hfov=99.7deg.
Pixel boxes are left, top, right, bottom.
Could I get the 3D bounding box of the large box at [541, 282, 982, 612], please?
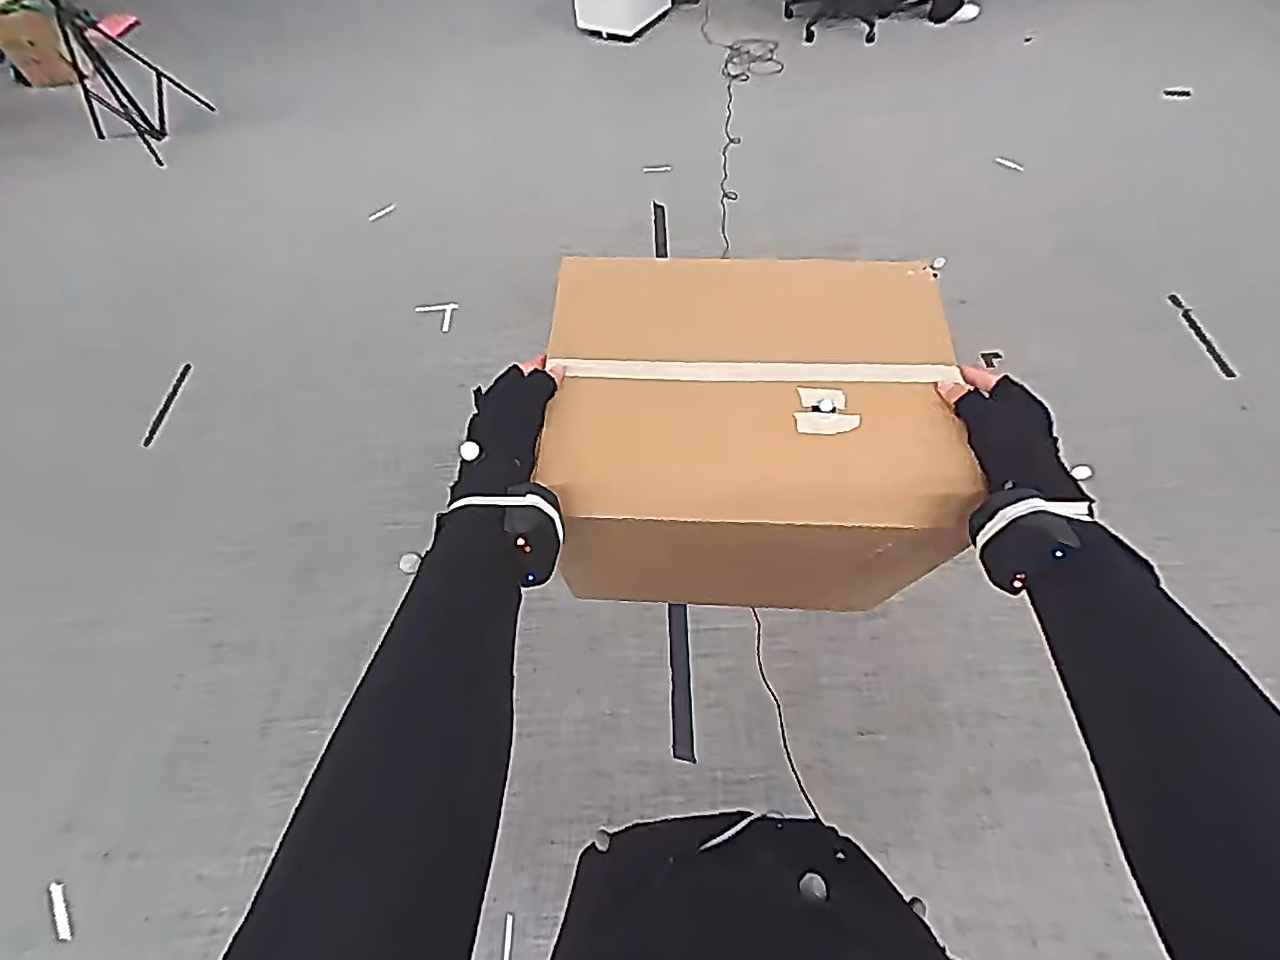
[{"bbox_3d":[0.112,-0.023,0.682,0.408,0.320,0.320,1,64,2],"label":"large box"}]
